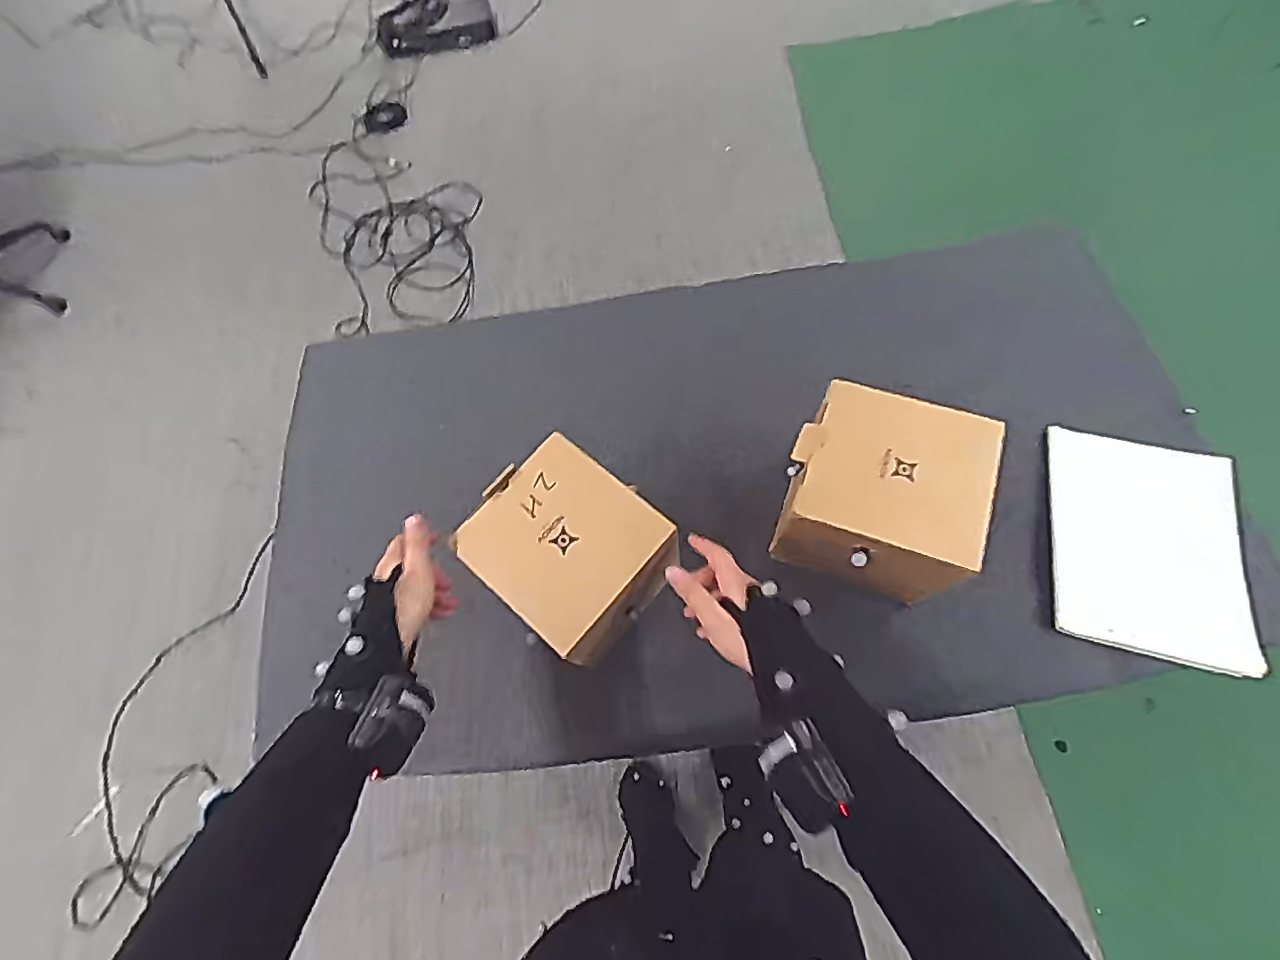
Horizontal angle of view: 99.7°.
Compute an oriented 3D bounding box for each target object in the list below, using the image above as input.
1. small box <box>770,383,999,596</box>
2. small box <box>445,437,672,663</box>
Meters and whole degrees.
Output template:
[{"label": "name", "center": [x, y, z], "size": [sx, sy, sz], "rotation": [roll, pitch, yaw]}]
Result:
[{"label": "small box", "center": [0.261, 0.021, 0.610], "size": [0.179, 0.176, 0.168], "rotation": [18, 70, 13]}, {"label": "small box", "center": [-0.076, 0.088, 0.617], "size": [0.179, 0.176, 0.168], "rotation": [38, 75, 18]}]
